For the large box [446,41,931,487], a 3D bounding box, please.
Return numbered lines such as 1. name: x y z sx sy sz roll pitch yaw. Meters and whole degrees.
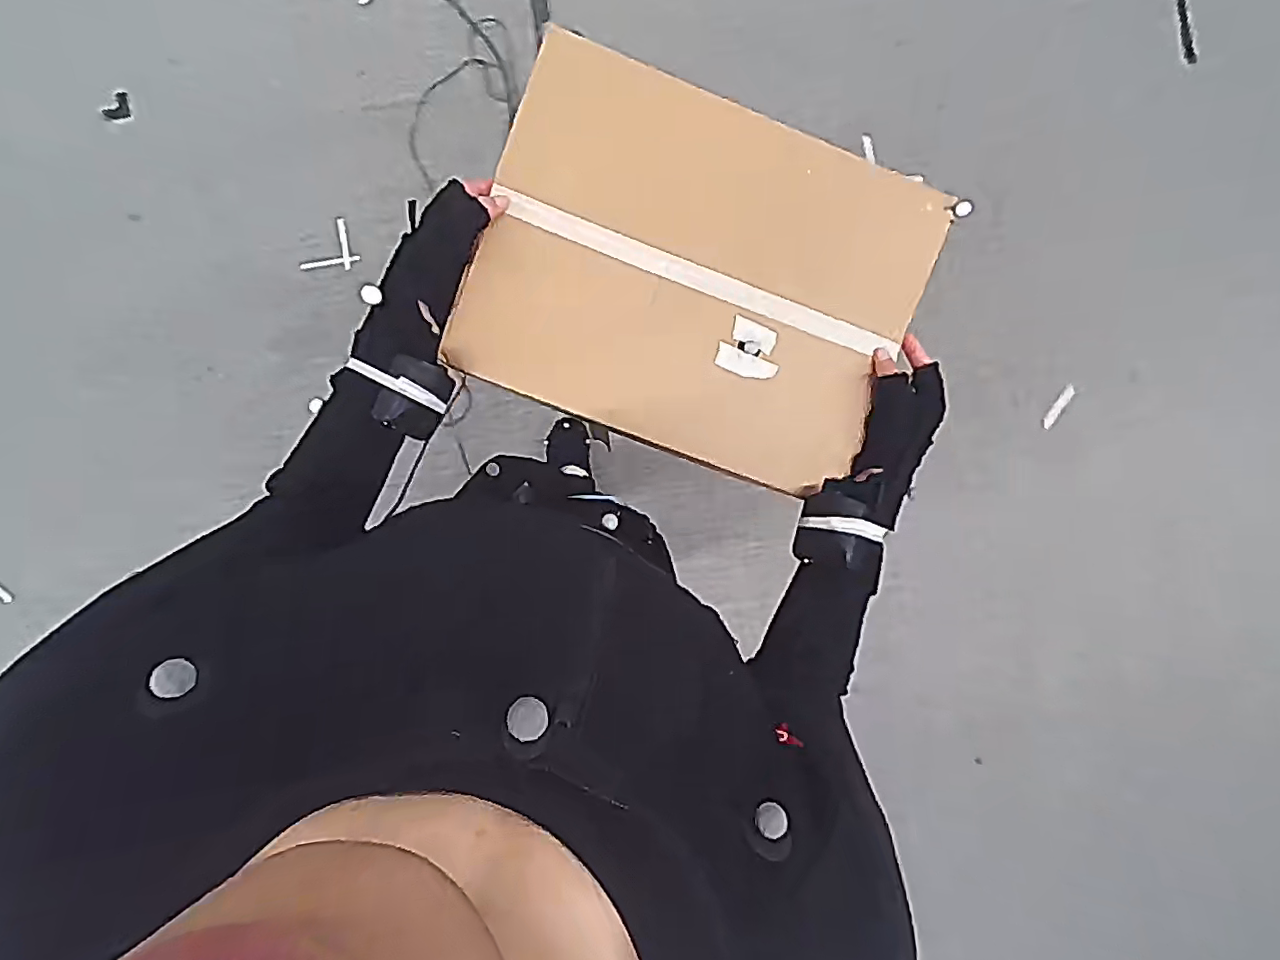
1. large box: 0.038 -0.208 0.661 0.408 0.320 0.320 19 94 -6
